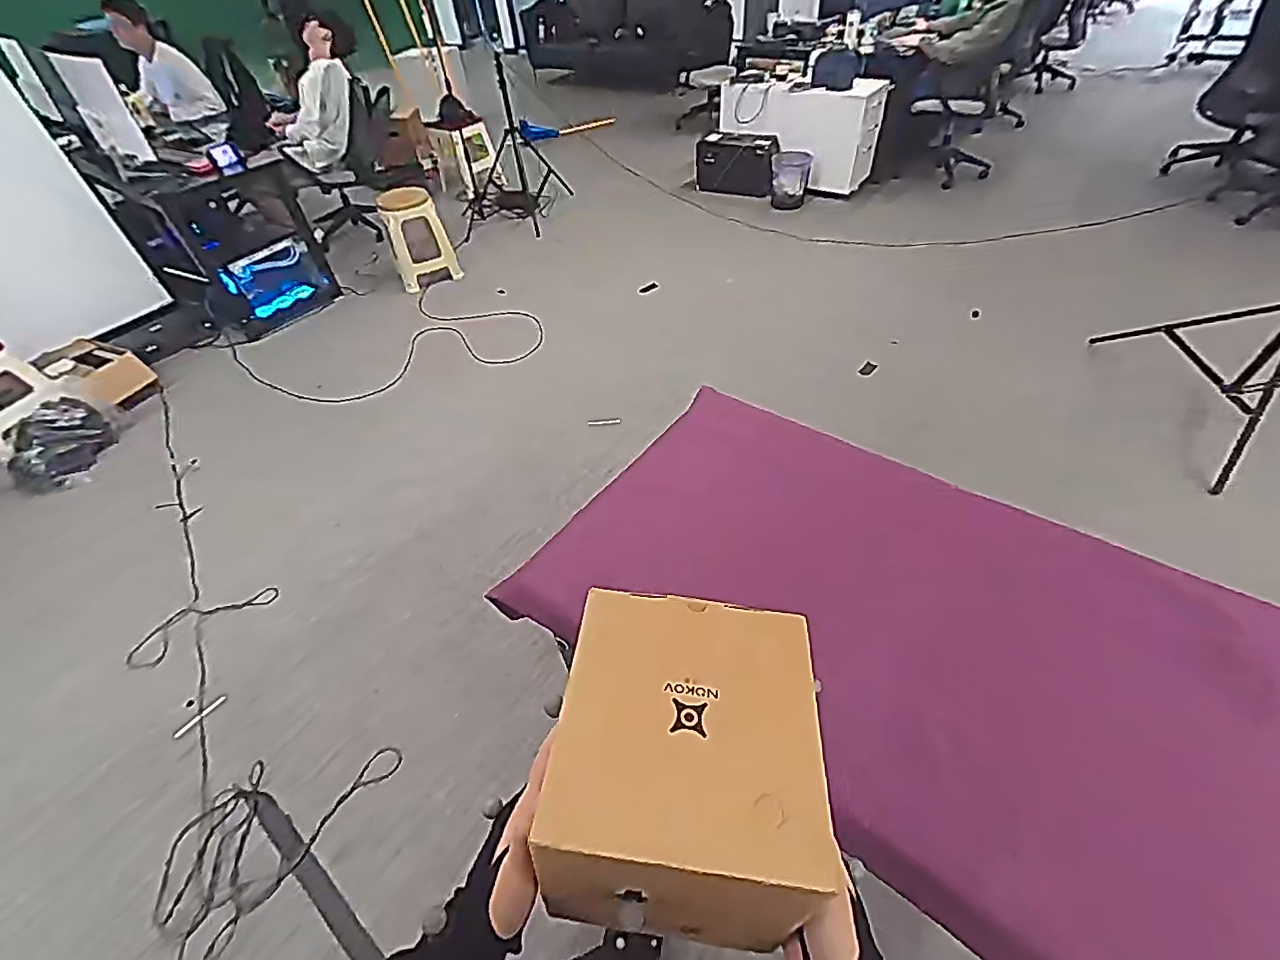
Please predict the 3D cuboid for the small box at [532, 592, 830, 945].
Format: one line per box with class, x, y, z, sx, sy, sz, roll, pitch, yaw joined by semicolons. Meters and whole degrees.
small box;0.029;0.213;0.405;0.168;0.176;0.179;7;39;3
